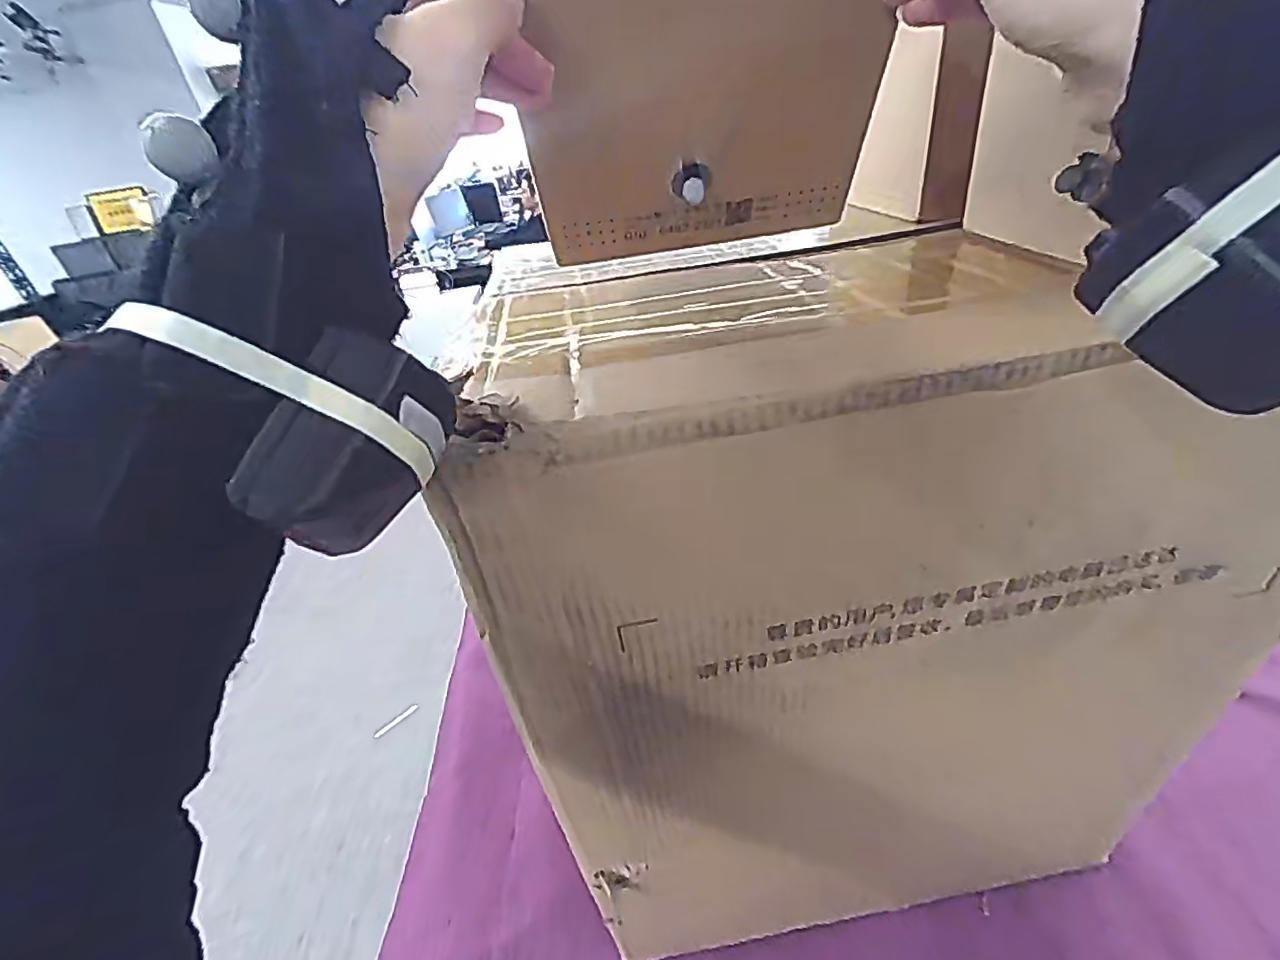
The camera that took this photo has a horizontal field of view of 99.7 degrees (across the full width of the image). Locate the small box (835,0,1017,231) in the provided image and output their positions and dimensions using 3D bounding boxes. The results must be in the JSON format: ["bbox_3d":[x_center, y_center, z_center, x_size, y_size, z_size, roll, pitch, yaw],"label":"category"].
[{"bbox_3d":[0.268,-0.308,0.433,0.168,0.176,0.179,-10,33,1],"label":"small box"}]

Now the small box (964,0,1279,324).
[{"bbox_3d":[0.293,-0.193,0.254,0.168,0.176,0.179,-9,33,1],"label":"small box"}]
